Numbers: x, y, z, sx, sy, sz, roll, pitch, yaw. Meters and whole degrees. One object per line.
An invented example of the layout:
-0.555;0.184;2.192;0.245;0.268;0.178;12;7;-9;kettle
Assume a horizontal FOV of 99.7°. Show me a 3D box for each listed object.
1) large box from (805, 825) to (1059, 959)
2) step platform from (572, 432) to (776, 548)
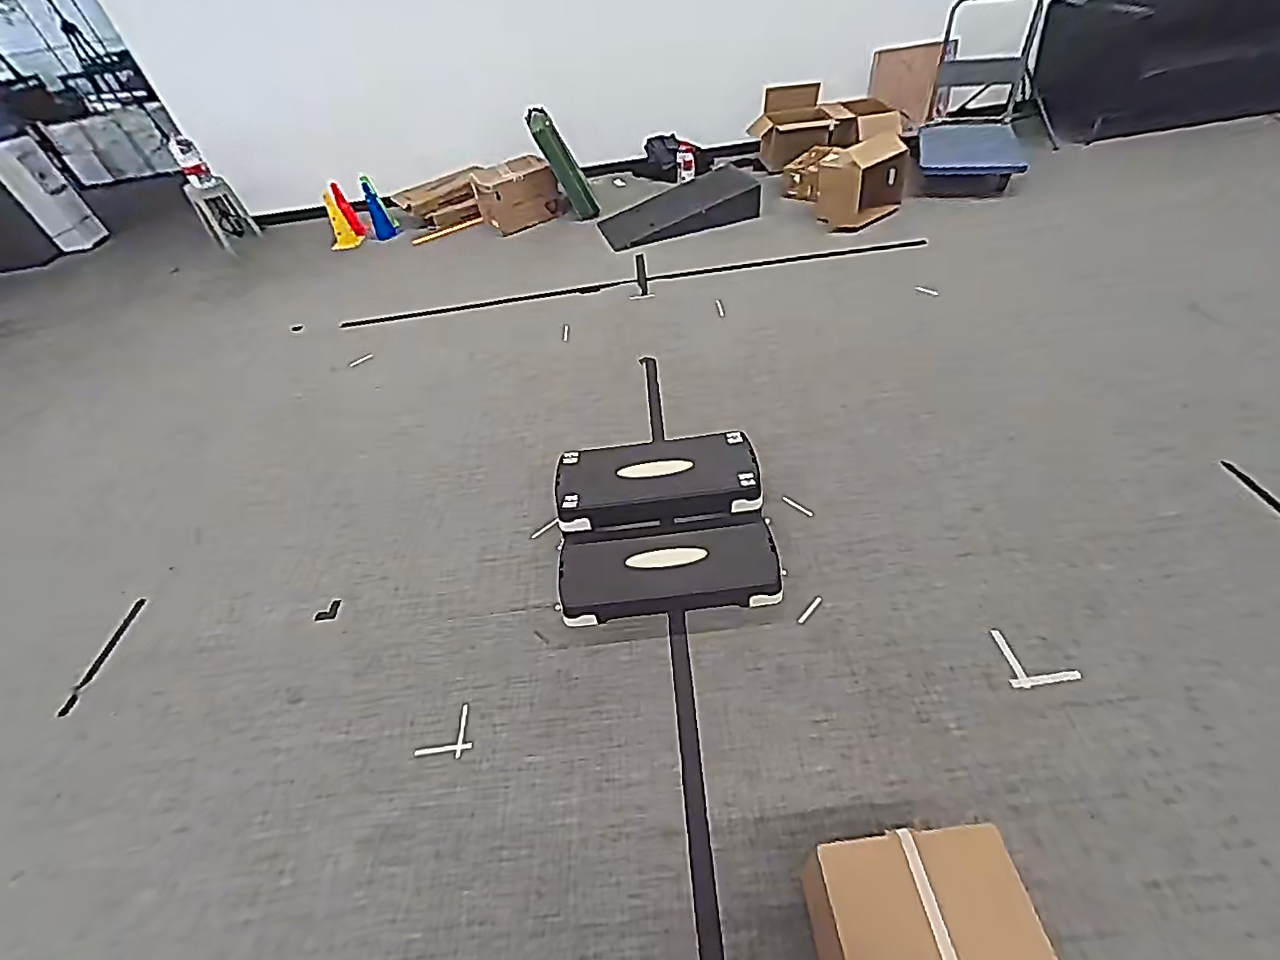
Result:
0.500;0.860;0.911;0.320;0.320;0.408;-9;47;2;large box
0.109;0.028;1.847;0.684;0.204;0.286;-7;46;1;step platform
